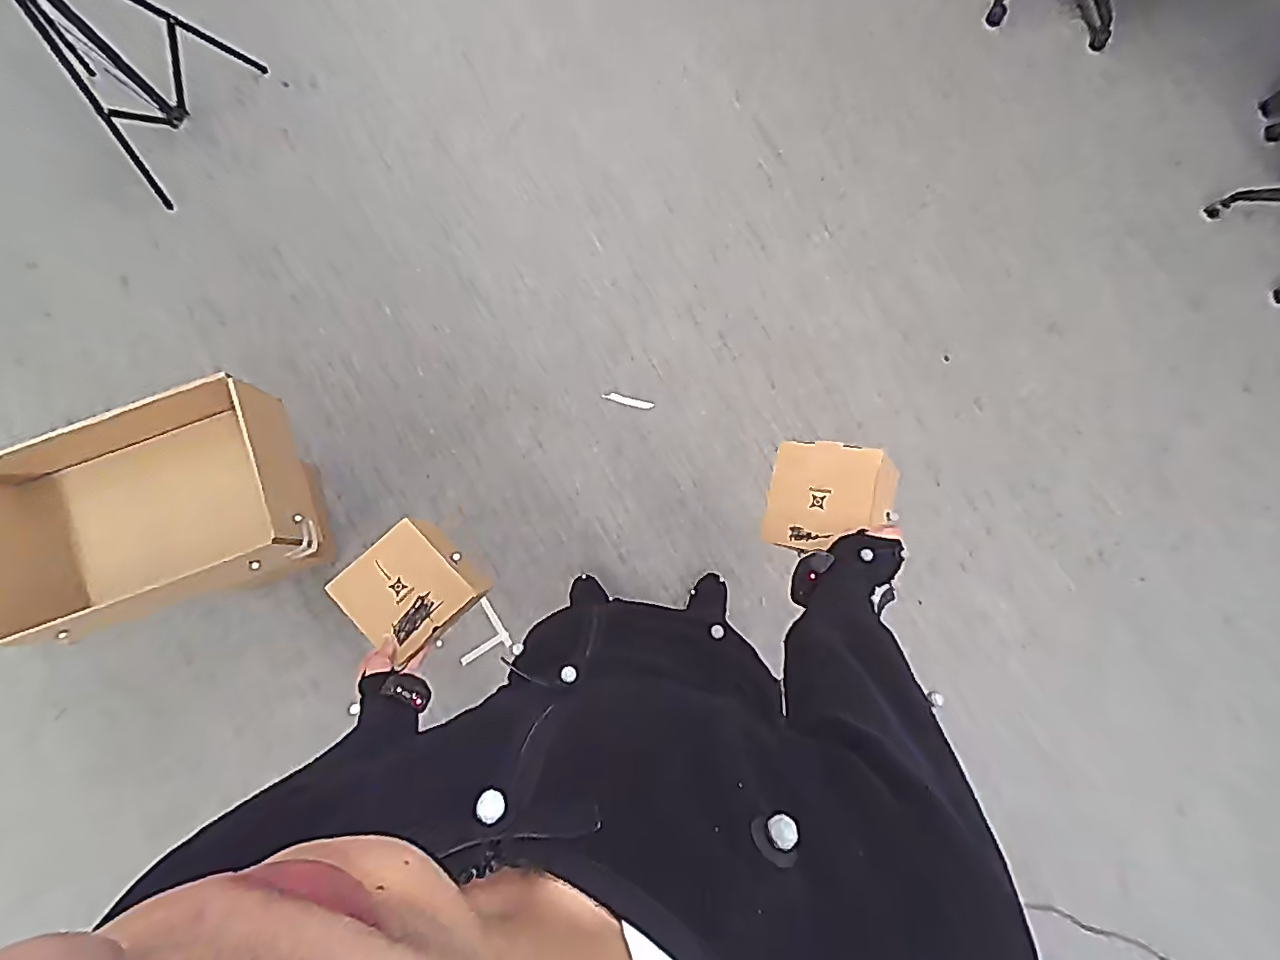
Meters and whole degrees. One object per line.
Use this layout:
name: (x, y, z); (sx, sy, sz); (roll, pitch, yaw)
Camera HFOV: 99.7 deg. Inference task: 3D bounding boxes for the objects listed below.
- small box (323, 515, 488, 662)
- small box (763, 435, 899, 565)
small box: (-0.387, 0.179, 0.931); (0.168, 0.176, 0.179); (-43, 88, -10)
small box: (0.328, 0.036, 0.911); (0.168, 0.176, 0.179); (9, 83, 35)
